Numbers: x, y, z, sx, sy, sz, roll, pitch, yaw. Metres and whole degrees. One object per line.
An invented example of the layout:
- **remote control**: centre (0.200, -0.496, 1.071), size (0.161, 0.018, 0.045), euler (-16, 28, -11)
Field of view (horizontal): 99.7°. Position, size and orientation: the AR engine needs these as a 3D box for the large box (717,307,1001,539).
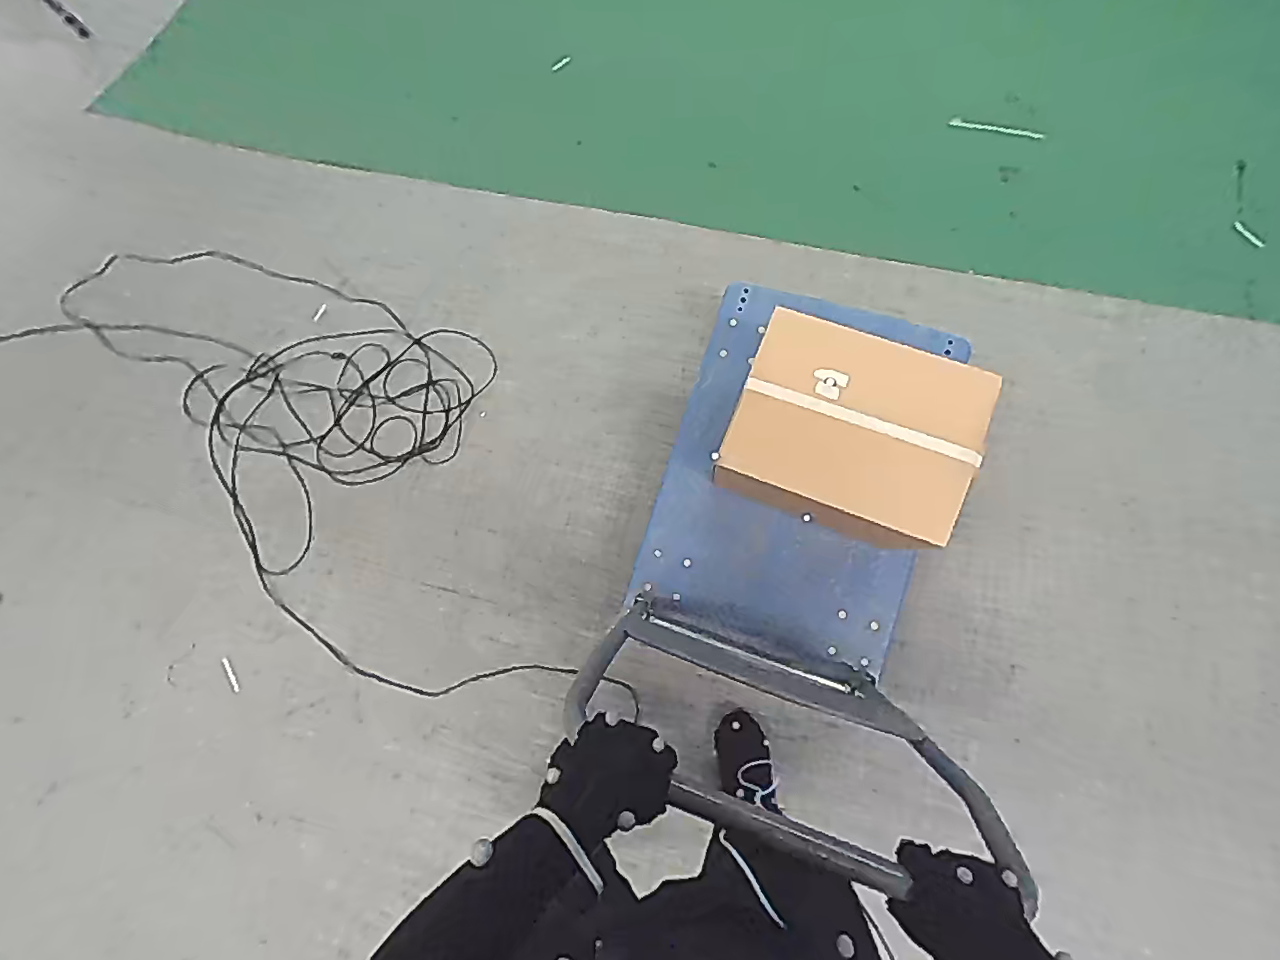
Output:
- **large box**: centre (0.395, -0.090, 1.074), size (0.408, 0.320, 0.320), euler (20, 86, 10)
